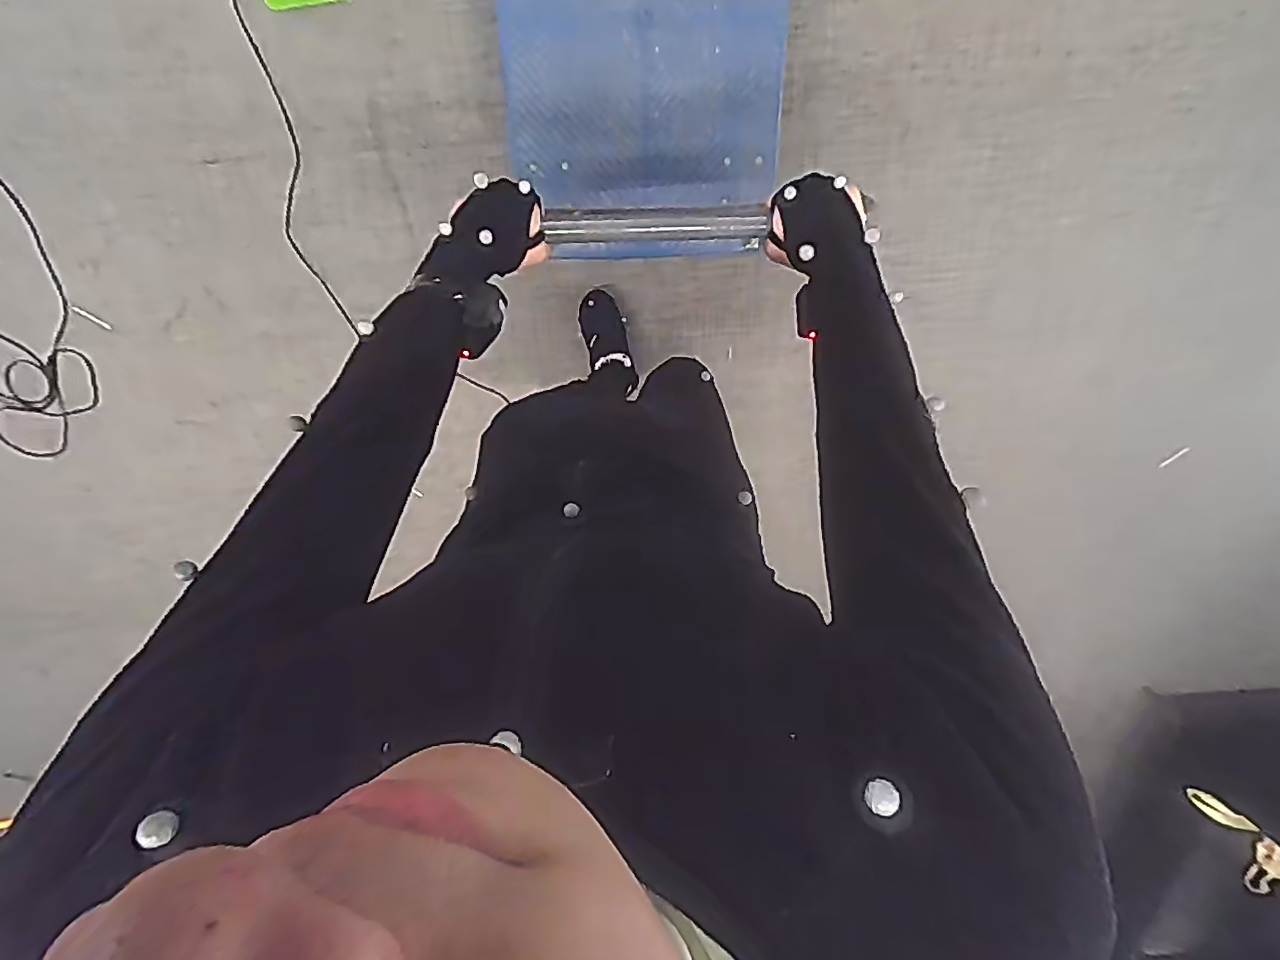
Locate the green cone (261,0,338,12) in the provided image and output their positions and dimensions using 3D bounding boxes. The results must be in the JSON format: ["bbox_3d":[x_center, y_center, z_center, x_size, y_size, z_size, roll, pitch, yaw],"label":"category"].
[{"bbox_3d":[-0.739,-1.053,0.981,0.202,0.368,0.200,-7,114,4],"label":"green cone"}]
